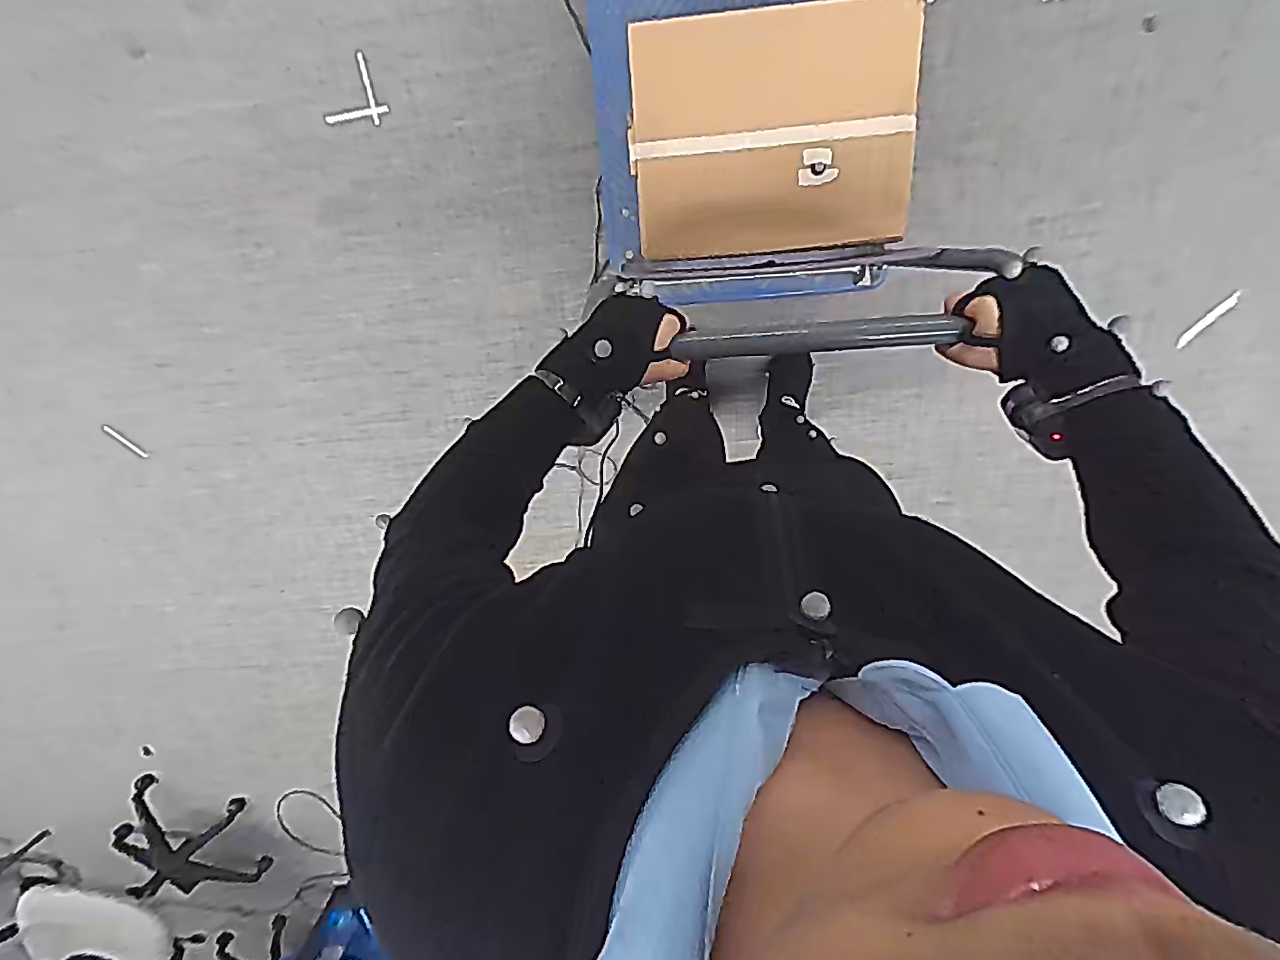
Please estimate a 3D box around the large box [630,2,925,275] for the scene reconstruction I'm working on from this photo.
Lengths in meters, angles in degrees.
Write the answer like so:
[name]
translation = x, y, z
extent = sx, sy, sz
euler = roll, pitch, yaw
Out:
[large box]
translation = 0.203, -0.534, 0.926
extent = 0.408, 0.320, 0.320
euler = -3, 112, 5
